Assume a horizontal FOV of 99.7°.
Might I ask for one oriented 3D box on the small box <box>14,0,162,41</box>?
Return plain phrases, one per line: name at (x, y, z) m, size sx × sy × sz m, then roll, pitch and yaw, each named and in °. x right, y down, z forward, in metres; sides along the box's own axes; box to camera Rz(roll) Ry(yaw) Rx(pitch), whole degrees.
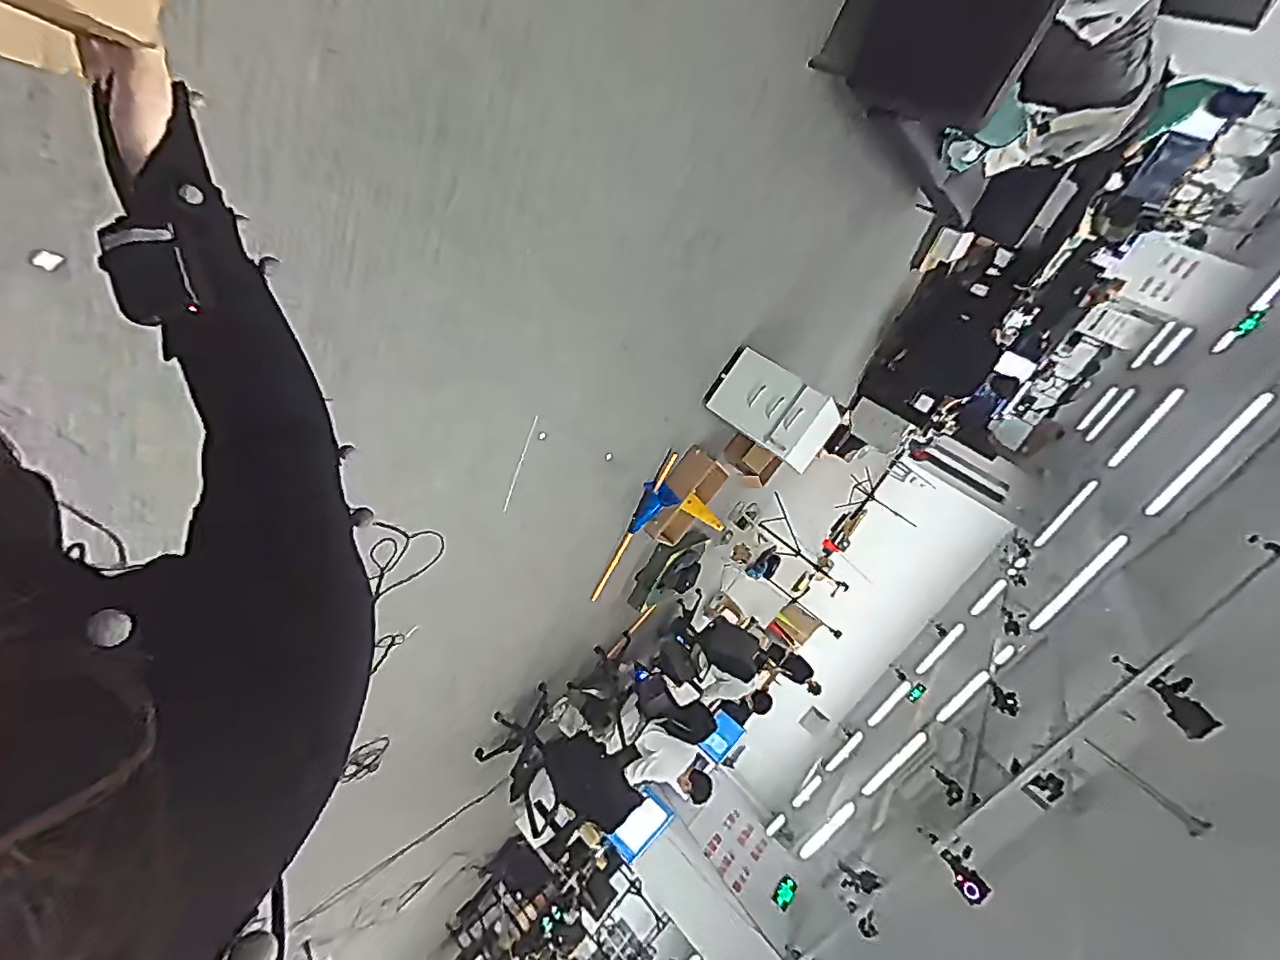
small box at (-0.380, -0.372, 0.276) m, size 0.179 × 0.176 × 0.168 m, roll -7°, pitch 121°, yaw -56°
